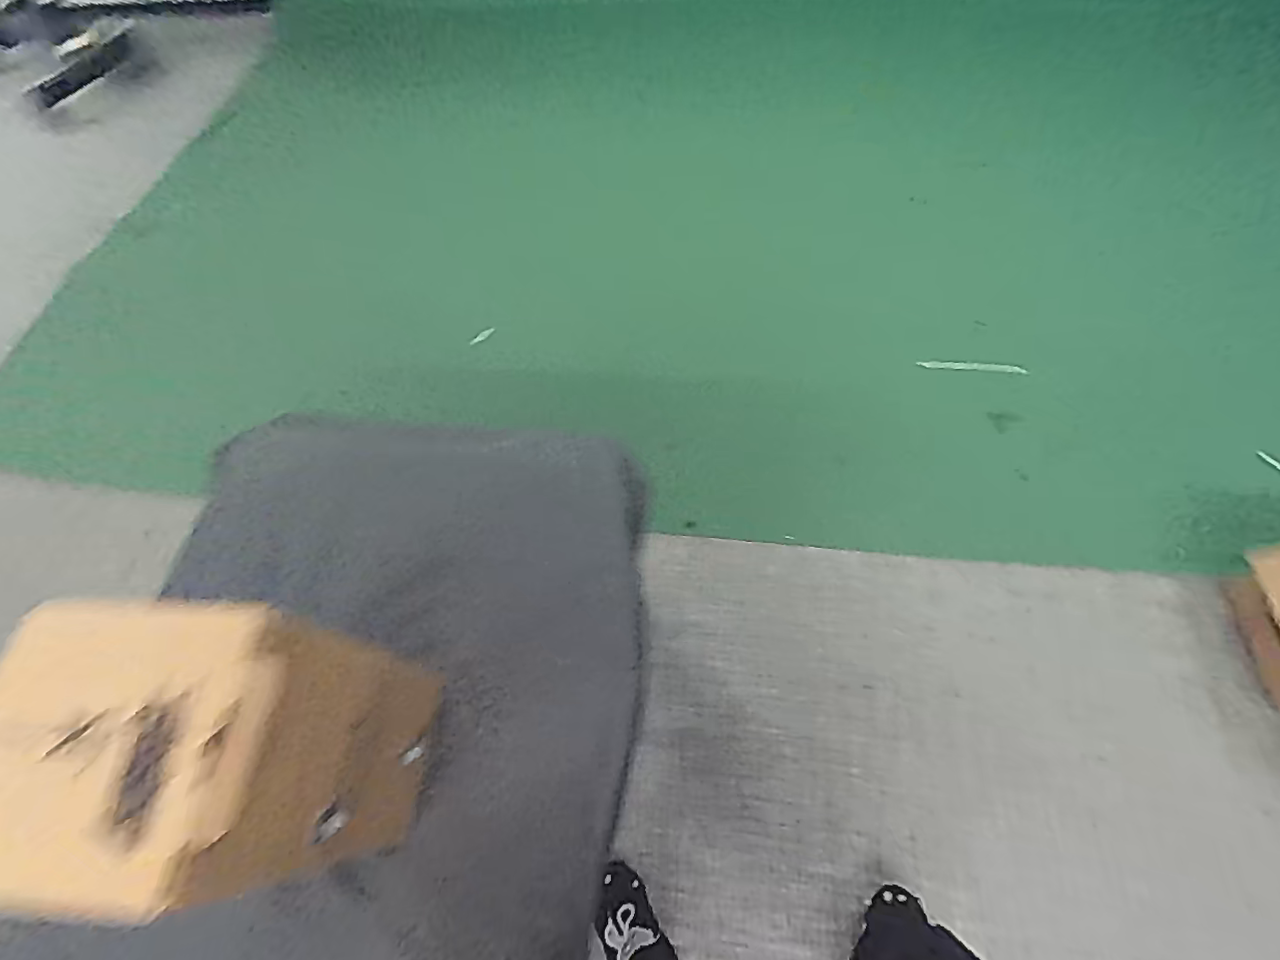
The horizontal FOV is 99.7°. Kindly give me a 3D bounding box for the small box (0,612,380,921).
[{"bbox_3d":[-0.334,0.206,0.412,0.179,0.176,0.168,1,62,6],"label":"small box"}]
